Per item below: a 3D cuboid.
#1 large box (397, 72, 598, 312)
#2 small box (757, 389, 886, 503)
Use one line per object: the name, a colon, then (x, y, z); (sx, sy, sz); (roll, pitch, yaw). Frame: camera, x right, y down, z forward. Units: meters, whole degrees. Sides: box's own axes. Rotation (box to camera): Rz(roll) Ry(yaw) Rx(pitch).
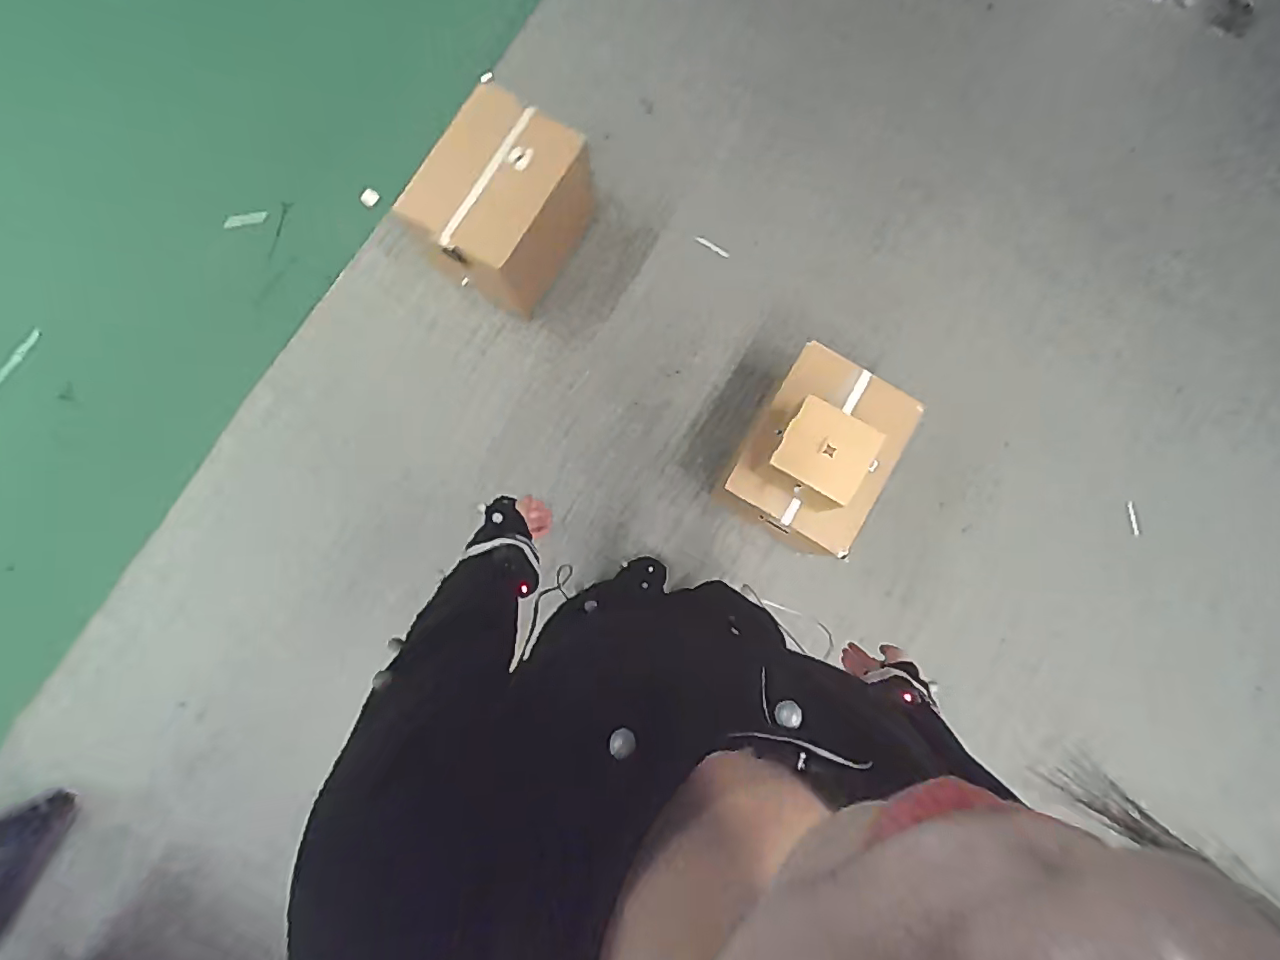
large box: (-0.354, -0.741, 1.446); (0.320, 0.320, 0.408); (31, 84, 3)
small box: (0.370, -0.061, 1.134); (0.179, 0.176, 0.168); (31, 86, 6)
